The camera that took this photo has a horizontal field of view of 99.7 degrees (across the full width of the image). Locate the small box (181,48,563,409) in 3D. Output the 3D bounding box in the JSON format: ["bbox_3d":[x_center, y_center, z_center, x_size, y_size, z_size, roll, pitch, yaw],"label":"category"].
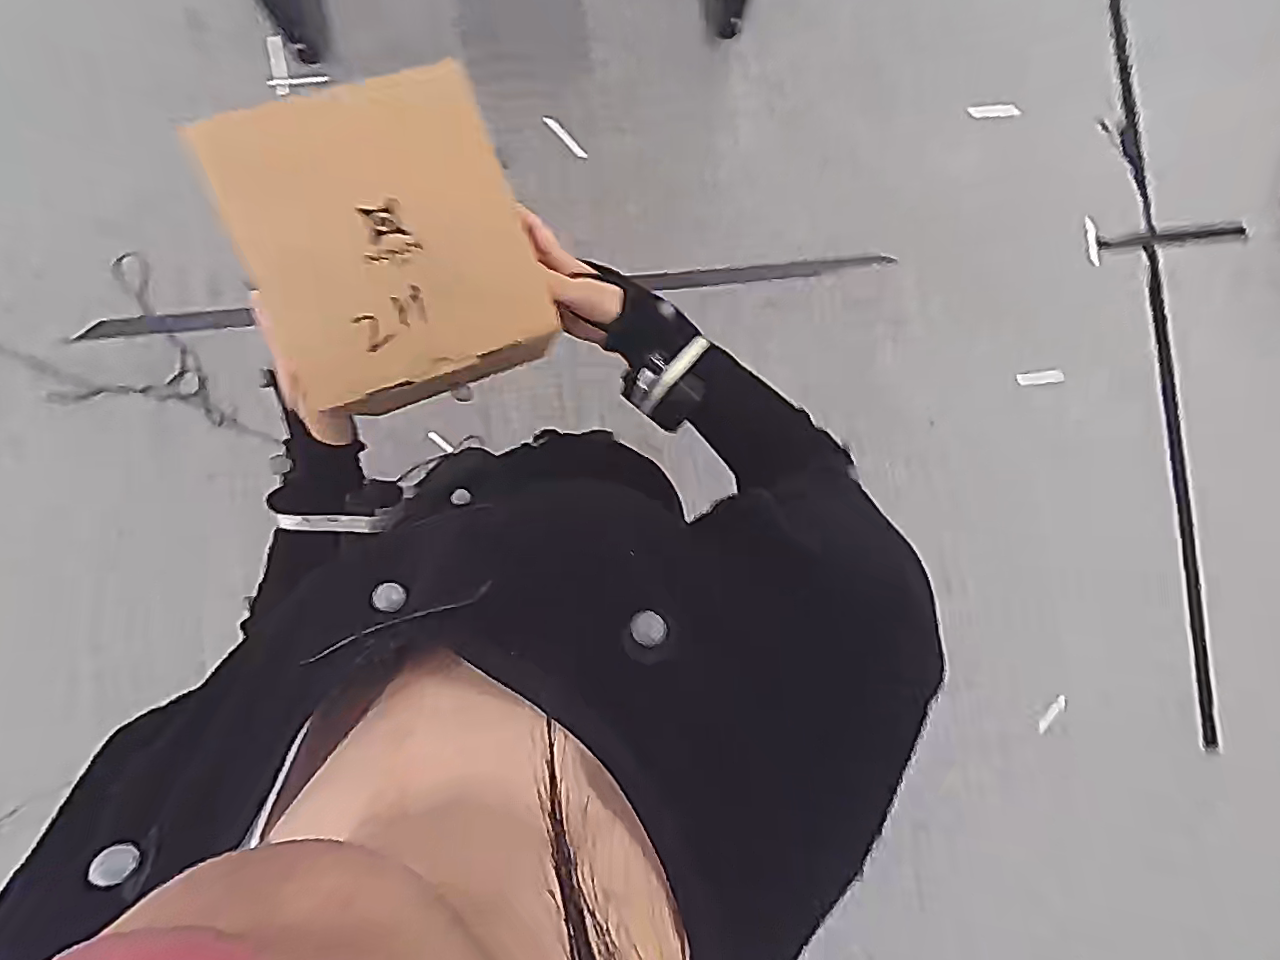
[{"bbox_3d":[-0.173,-0.162,0.405,0.168,0.176,0.179,-23,101,-10],"label":"small box"}]

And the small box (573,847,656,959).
[{"bbox_3d":[-0.071,1.101,1.402,0.179,0.176,0.168,-14,91,-7],"label":"small box"}]
